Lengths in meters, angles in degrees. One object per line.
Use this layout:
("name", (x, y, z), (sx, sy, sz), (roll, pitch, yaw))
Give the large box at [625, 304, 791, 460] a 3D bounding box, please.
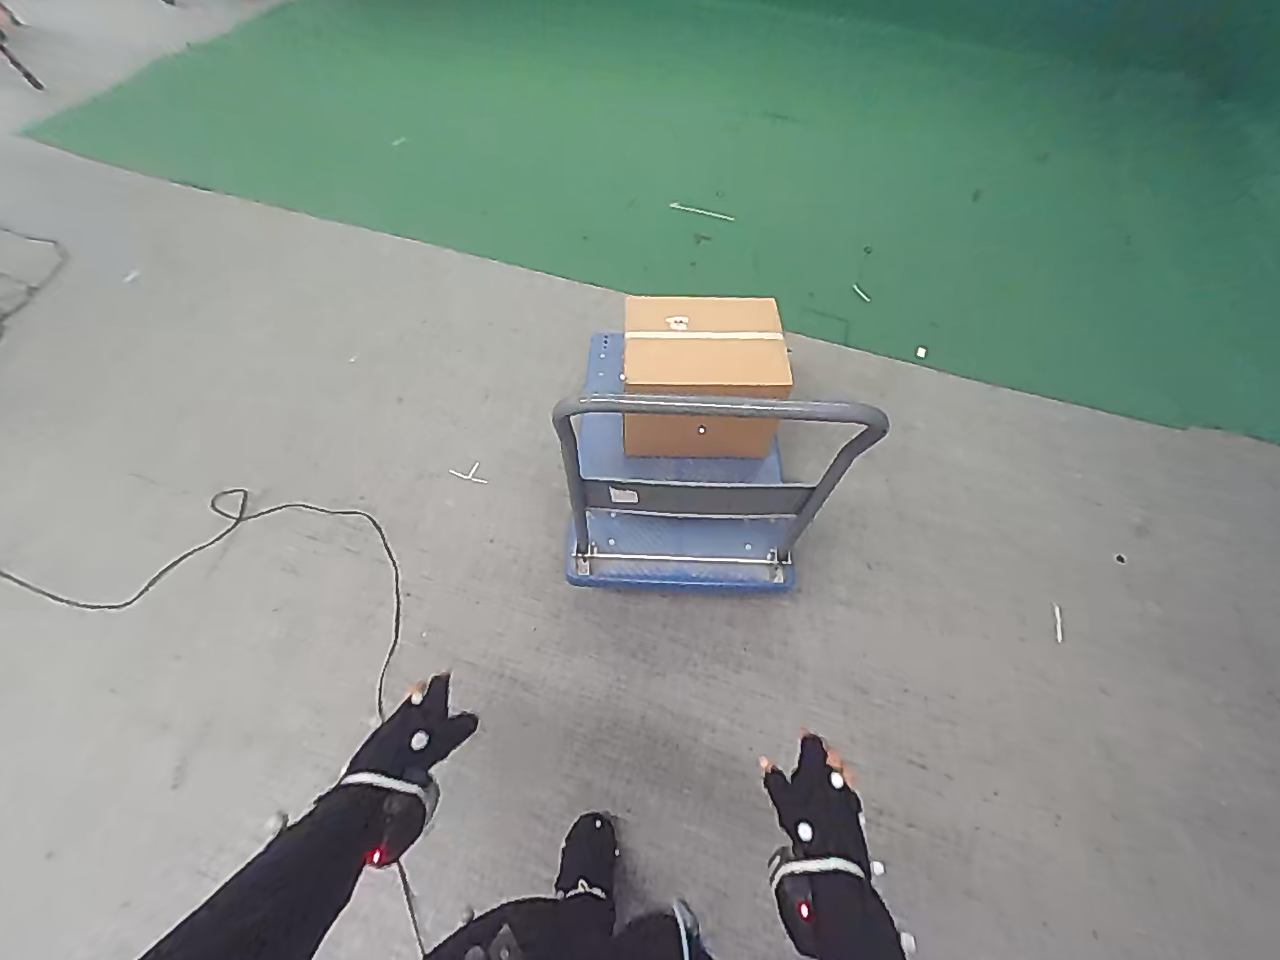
("large box", (0.163, -0.265, 1.498), (0.408, 0.320, 0.320), (0, 57, -1))
